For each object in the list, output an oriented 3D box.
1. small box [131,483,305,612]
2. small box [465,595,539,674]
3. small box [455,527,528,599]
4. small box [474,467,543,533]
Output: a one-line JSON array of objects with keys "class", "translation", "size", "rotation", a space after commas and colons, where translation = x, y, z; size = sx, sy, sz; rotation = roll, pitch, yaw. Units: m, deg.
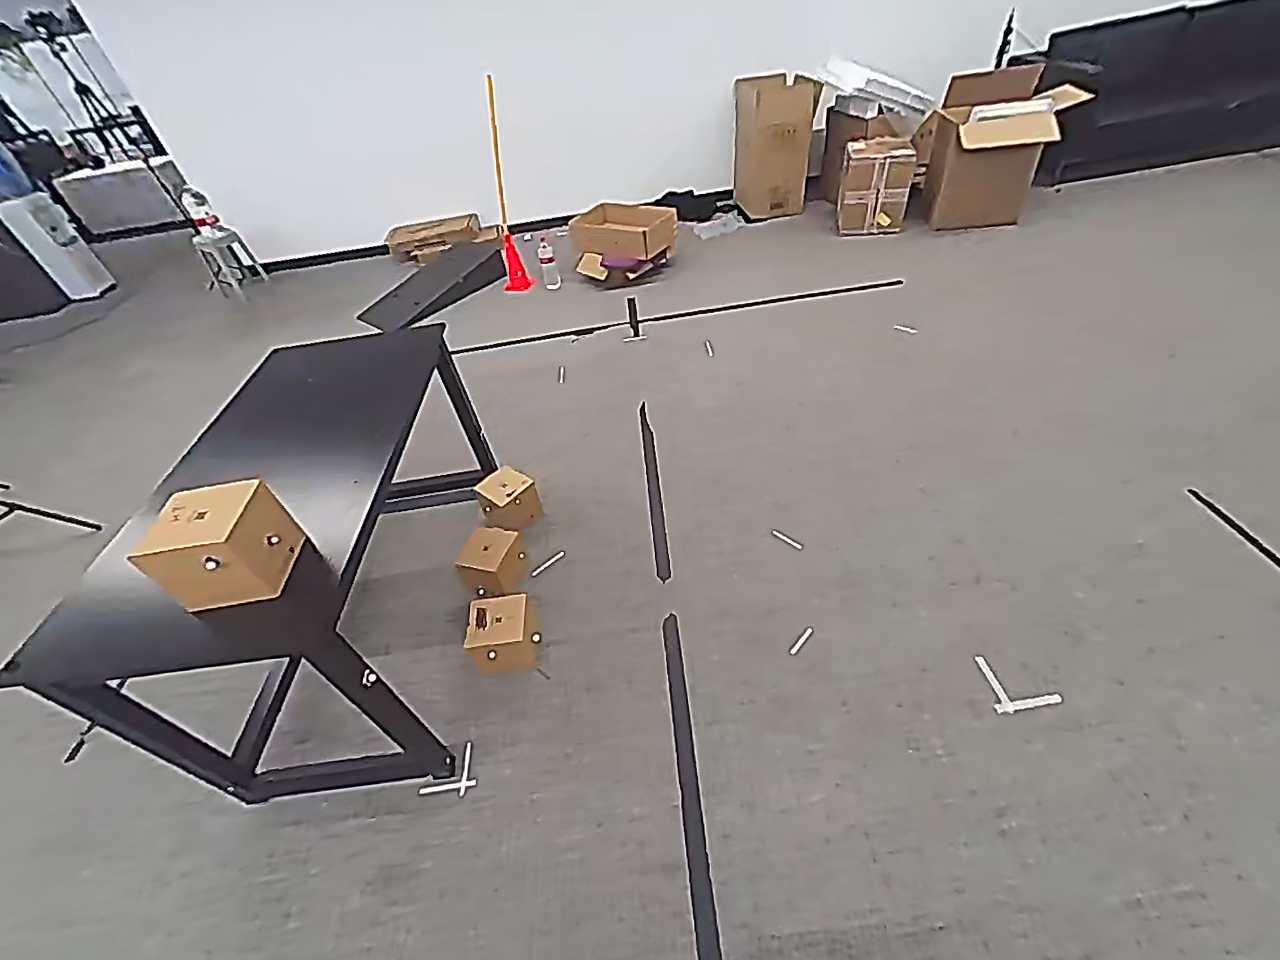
[{"class": "small box", "translation": [-0.795, 0.132, 1.046], "size": [0.179, 0.176, 0.168], "rotation": [-10, 42, 0]}, {"class": "small box", "translation": [-0.421, 0.484, 1.677], "size": [0.179, 0.176, 0.168], "rotation": [-8, 43, 0]}, {"class": "small box", "translation": [-0.509, 0.294, 1.895], "size": [0.168, 0.176, 0.179], "rotation": [6, 46, 17]}, {"class": "small box", "translation": [-0.510, 0.084, 2.112], "size": [0.179, 0.176, 0.168], "rotation": [25, 54, 32]}]
